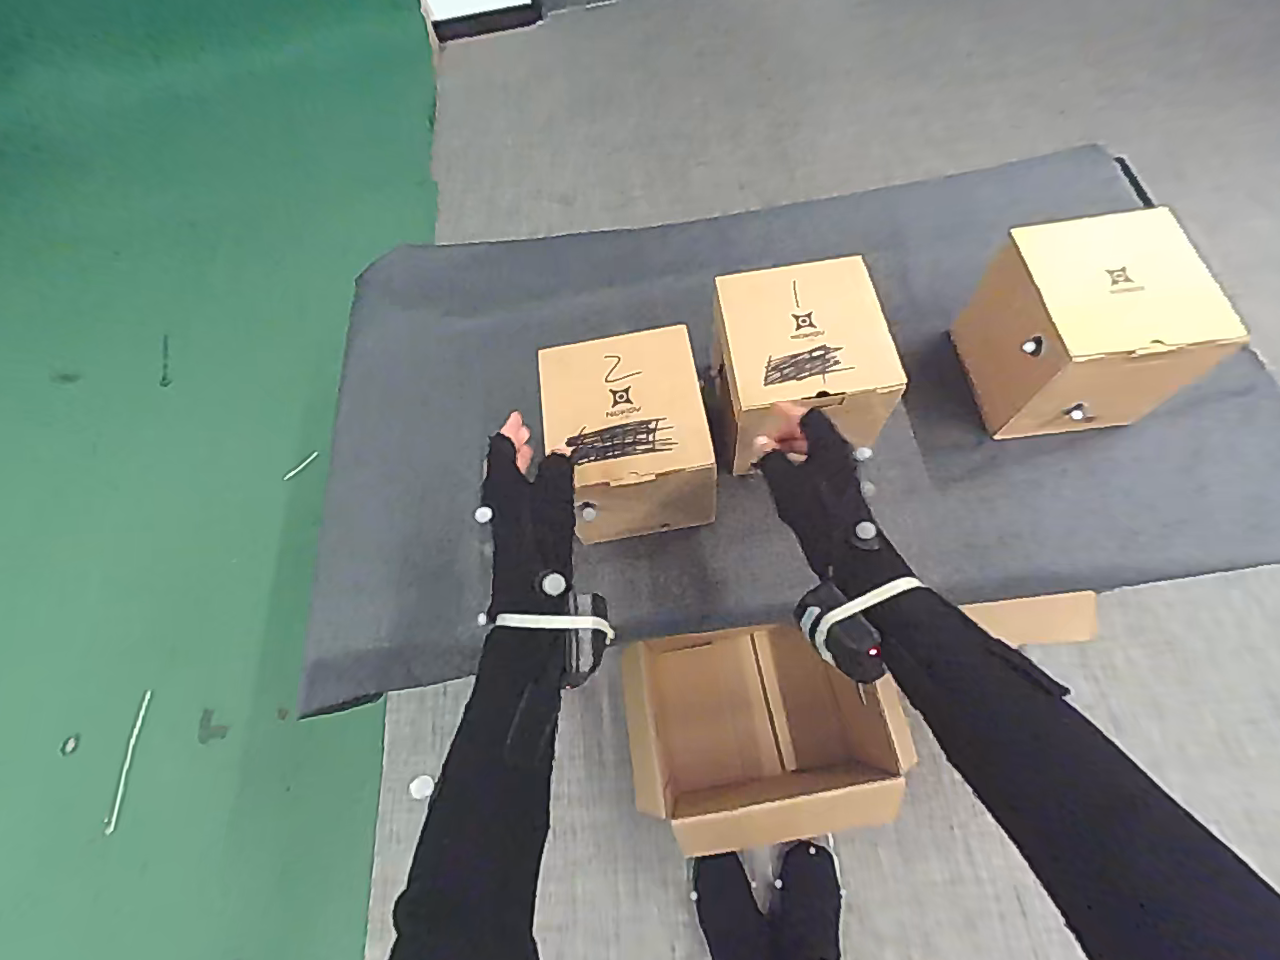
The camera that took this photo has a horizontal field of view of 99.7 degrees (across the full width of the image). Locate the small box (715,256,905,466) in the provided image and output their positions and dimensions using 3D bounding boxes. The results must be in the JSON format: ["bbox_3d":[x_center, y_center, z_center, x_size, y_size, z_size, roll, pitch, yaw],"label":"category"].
[{"bbox_3d":[0.182,-0.127,0.637,0.168,0.176,0.179,-7,65,3],"label":"small box"}]

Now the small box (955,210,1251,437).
[{"bbox_3d":[0.499,-0.171,0.622,0.168,0.176,0.179,-7,67,4],"label":"small box"}]
